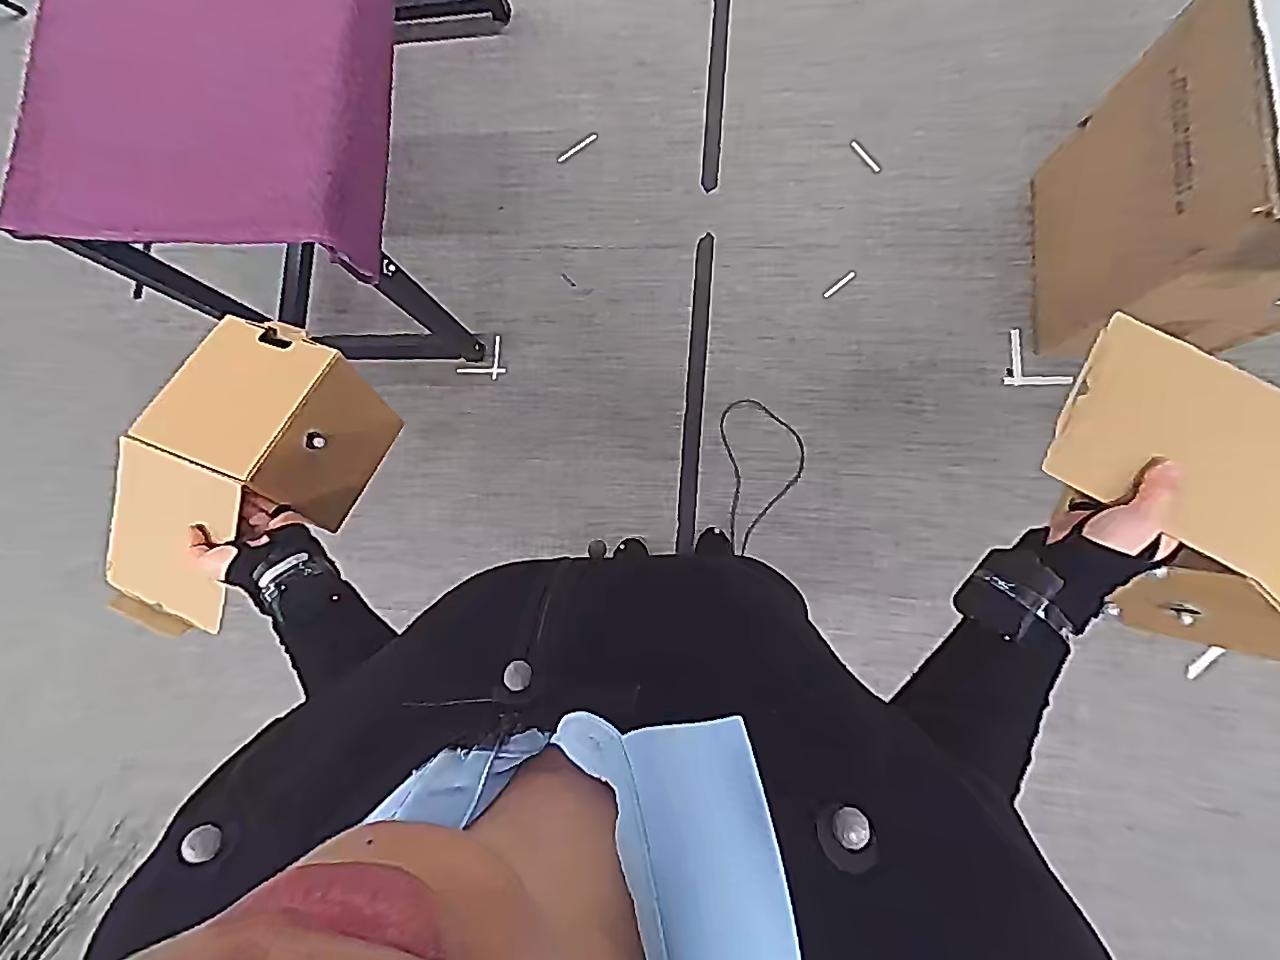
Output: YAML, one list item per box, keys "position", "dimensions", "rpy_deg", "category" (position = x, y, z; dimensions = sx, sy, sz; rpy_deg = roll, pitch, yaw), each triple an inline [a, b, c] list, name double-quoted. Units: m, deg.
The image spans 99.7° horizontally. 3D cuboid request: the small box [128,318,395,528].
- position: [-0.440, -0.061, 0.667]
  dimensions: [0.168, 0.176, 0.179]
  rpy_deg: [19, 67, 11]
  category: "small box"
